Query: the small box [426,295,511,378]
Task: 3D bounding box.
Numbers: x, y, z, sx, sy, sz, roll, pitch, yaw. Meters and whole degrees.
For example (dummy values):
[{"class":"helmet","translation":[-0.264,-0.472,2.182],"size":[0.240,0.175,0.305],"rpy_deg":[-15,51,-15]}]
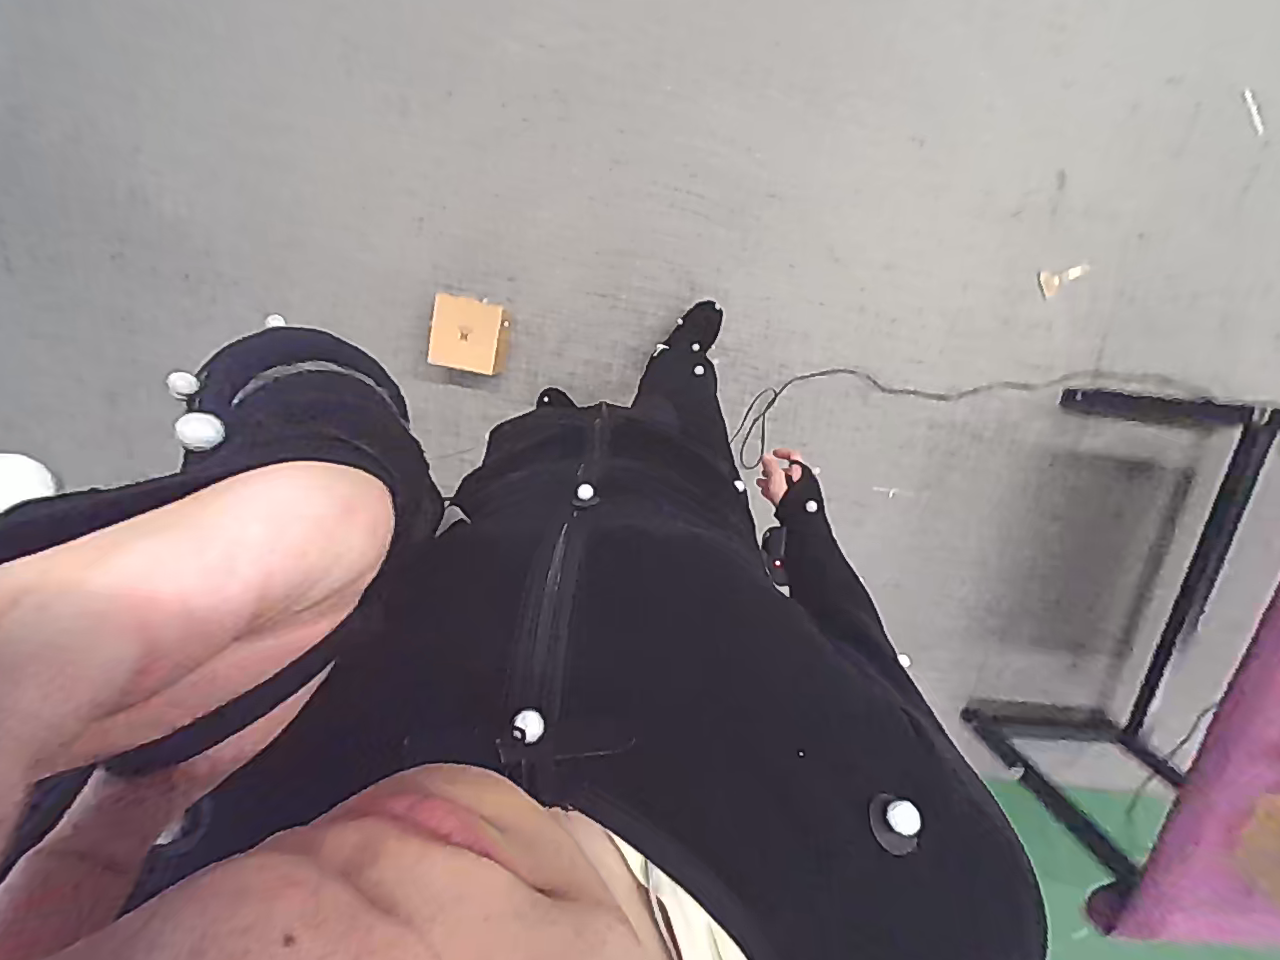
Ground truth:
[{"class":"small box","translation":[-0.445,-0.375,1.425],"size":[0.168,0.176,0.179],"rpy_deg":[11,102,-6]}]
